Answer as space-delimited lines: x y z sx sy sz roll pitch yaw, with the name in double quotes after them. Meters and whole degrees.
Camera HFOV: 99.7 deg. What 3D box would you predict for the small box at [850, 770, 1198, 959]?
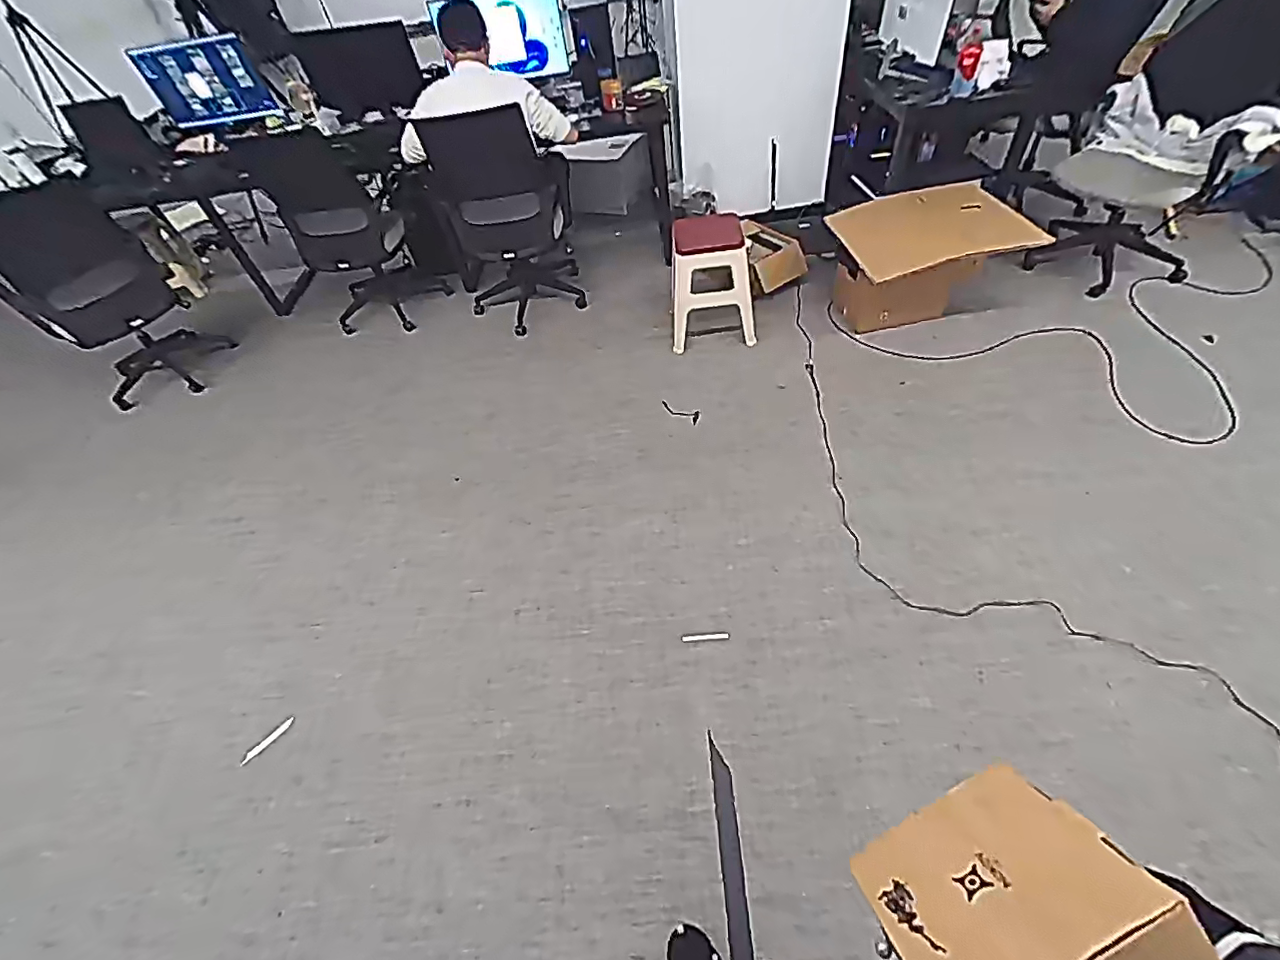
0.314 0.389 0.435 0.179 0.168 0.176 -31 91 -2 "small box"
